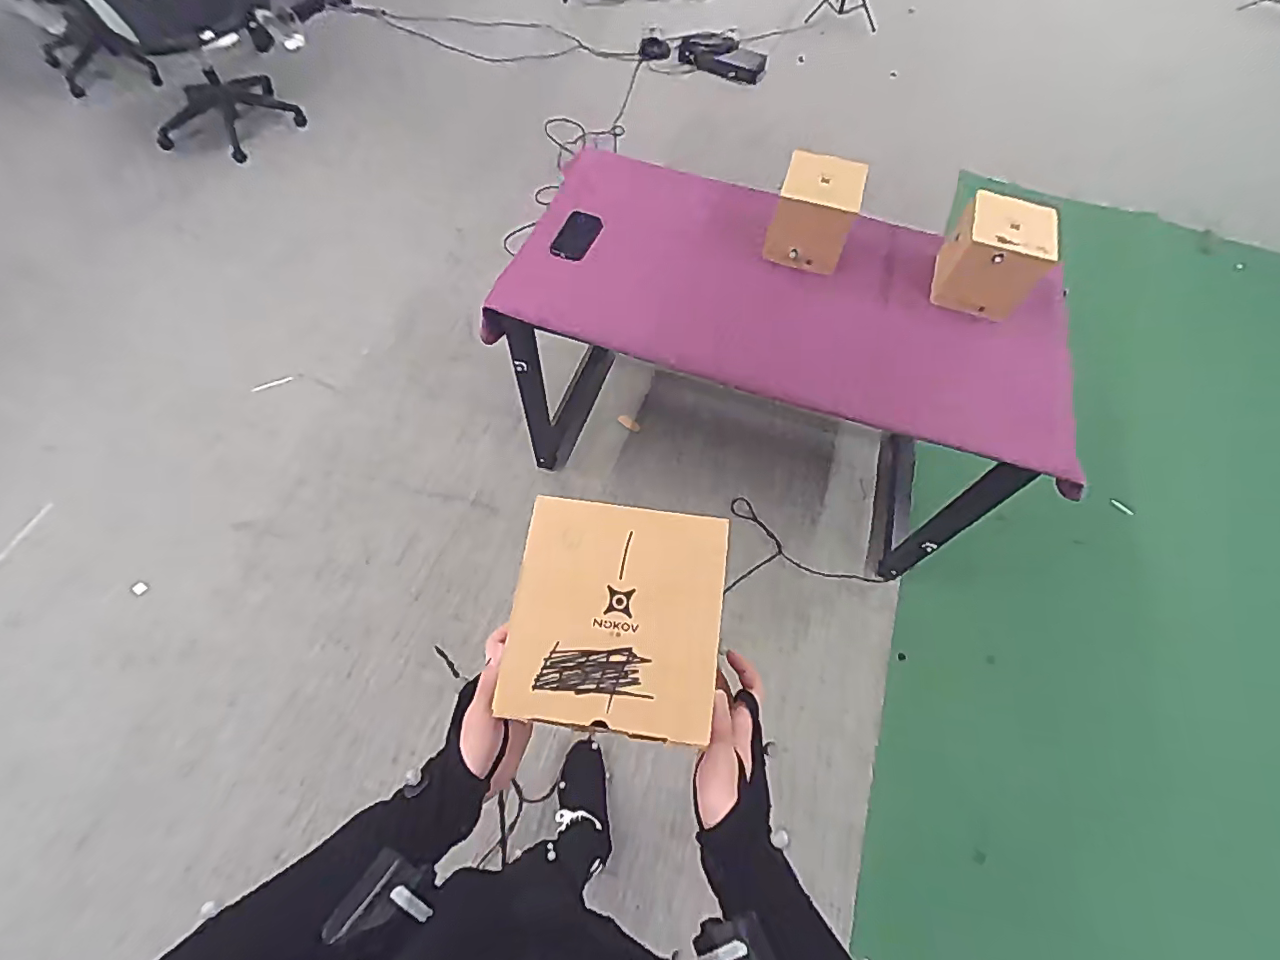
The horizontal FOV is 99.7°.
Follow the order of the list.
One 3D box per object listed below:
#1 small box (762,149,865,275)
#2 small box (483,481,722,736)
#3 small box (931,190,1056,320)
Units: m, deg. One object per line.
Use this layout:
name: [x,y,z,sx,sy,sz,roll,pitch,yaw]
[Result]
small box: [0.383,-0.596,1.210,0.168,0.176,0.179,17,62,7]
small box: [-0.023,0.118,0.494,0.168,0.176,0.179,7,71,3]
small box: [0.750,-0.480,1.160,0.168,0.176,0.179,18,61,9]
